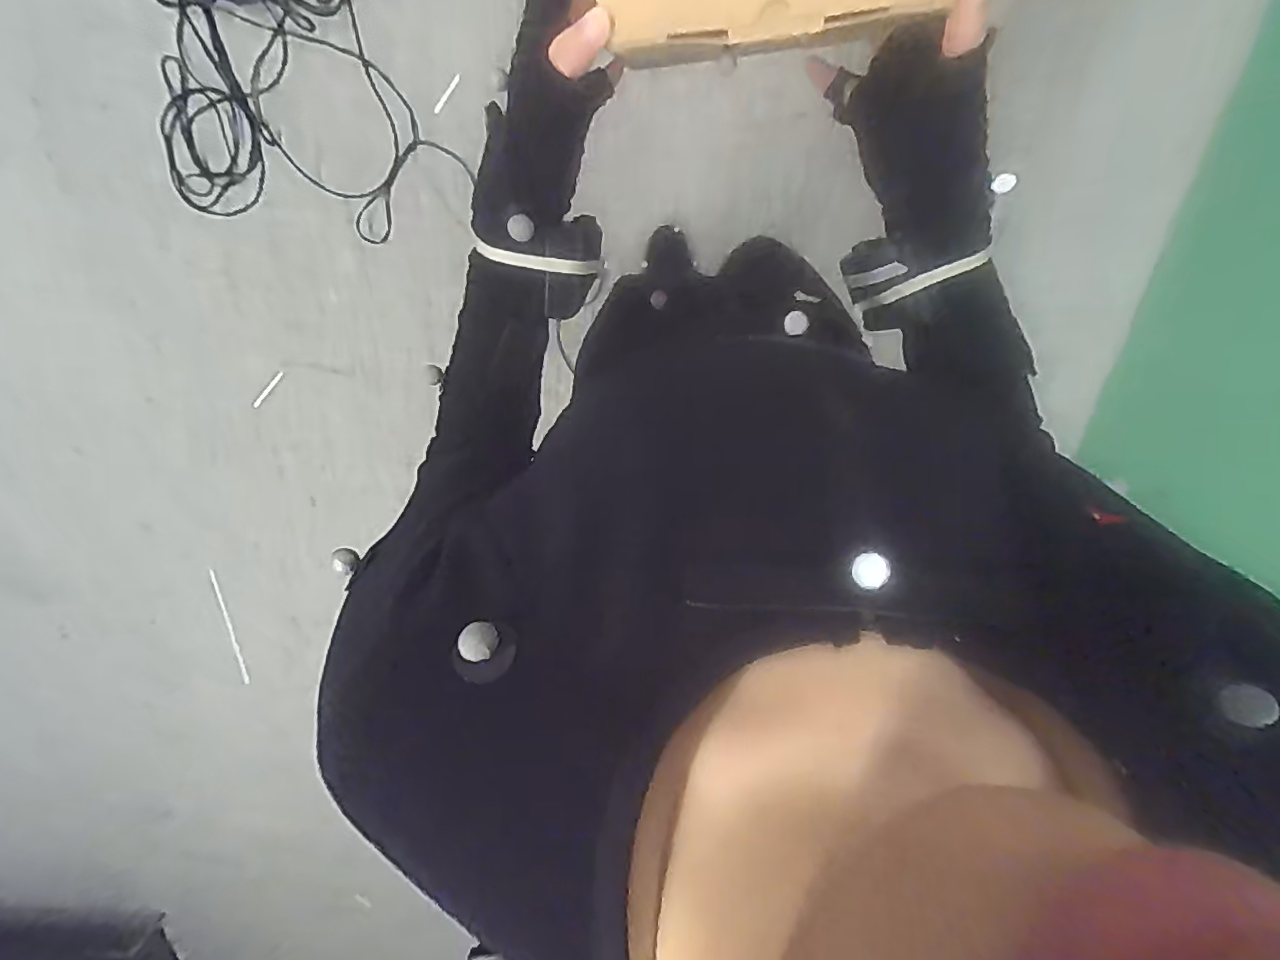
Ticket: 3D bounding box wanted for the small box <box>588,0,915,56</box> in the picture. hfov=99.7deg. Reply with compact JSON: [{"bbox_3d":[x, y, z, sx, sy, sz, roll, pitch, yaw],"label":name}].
[{"bbox_3d":[0.054,-0.333,0.267,0.168,0.176,0.179,-3,125,6],"label":"small box"}]
